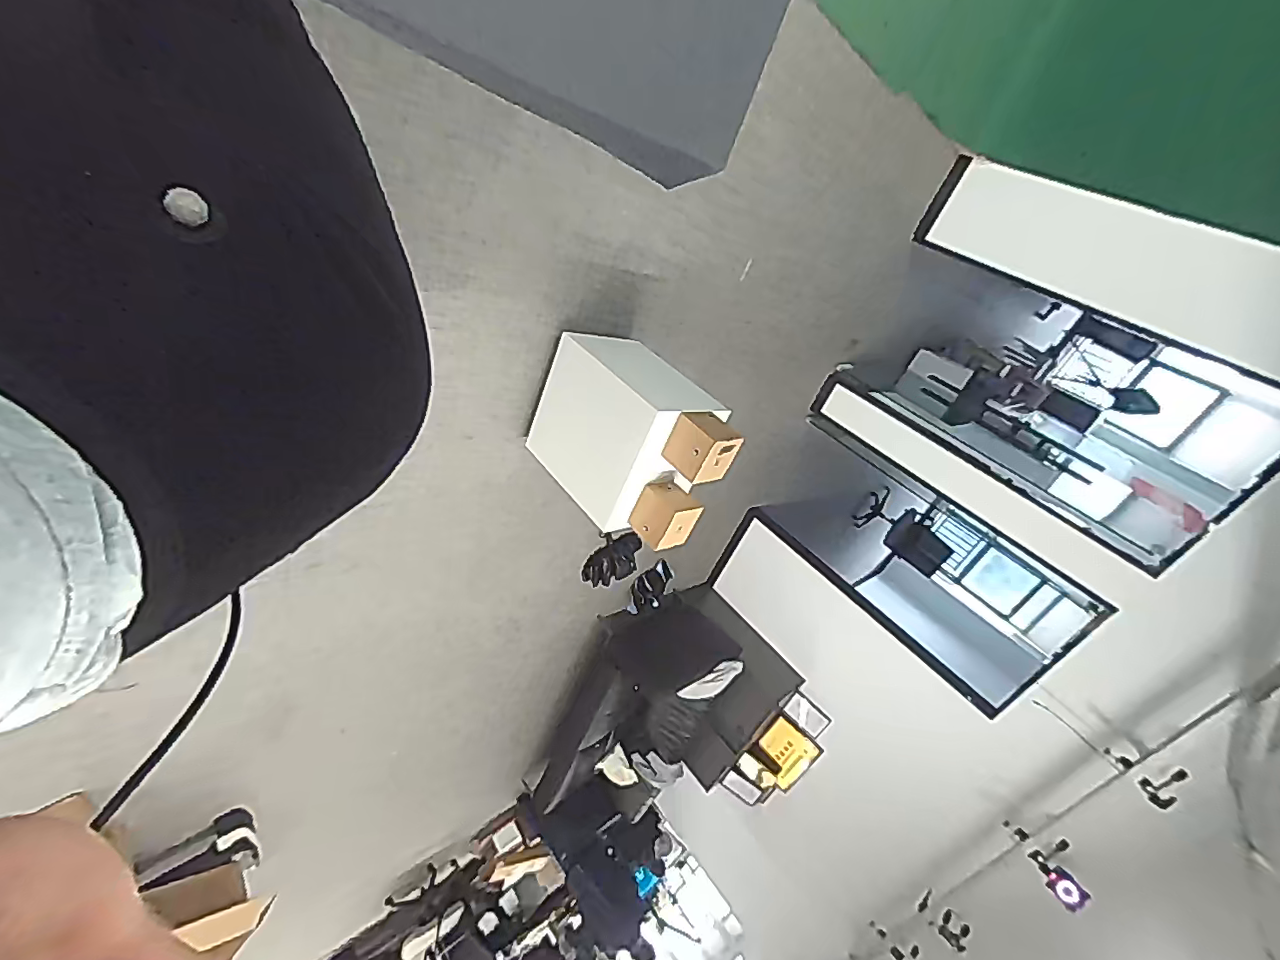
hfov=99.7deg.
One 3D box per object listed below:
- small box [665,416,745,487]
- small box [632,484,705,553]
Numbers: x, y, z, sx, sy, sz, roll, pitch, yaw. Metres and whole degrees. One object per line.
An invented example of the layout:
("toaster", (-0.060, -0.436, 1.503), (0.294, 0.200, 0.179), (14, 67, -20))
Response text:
("small box", (0.213, -0.104, 1.810), (0.168, 0.176, 0.179), (-10, 135, -44))
("small box", (0.097, 0.134, 1.946), (0.168, 0.176, 0.179), (-8, 130, -47))
